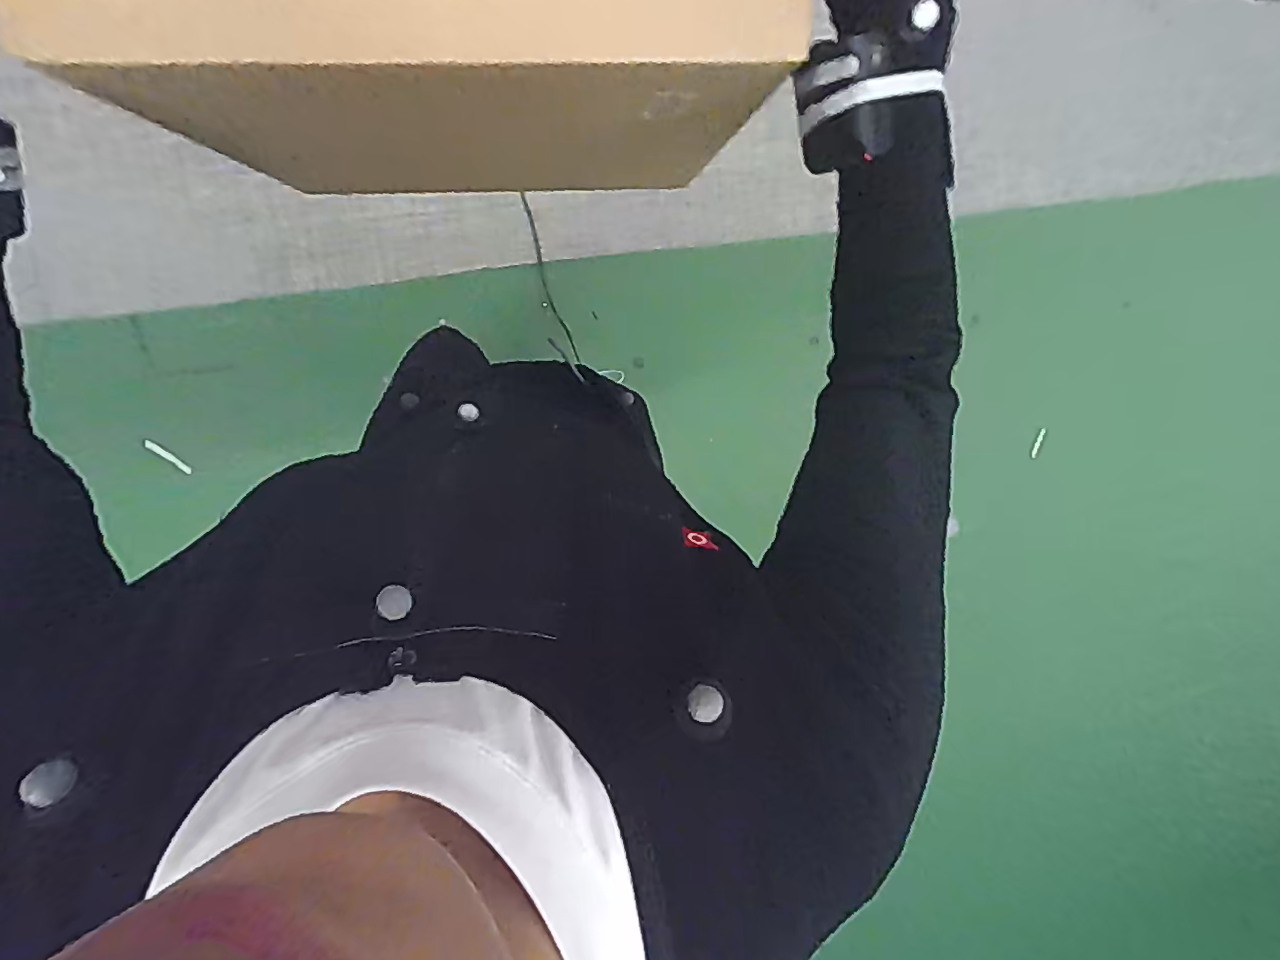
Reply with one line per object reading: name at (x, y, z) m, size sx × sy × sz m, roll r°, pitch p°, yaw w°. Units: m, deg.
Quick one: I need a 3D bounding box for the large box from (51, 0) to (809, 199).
large box at (-0.127, -0.416, 0.398) m, size 0.408 × 0.320 × 0.320 m, roll -5°, pitch 108°, yaw -6°
